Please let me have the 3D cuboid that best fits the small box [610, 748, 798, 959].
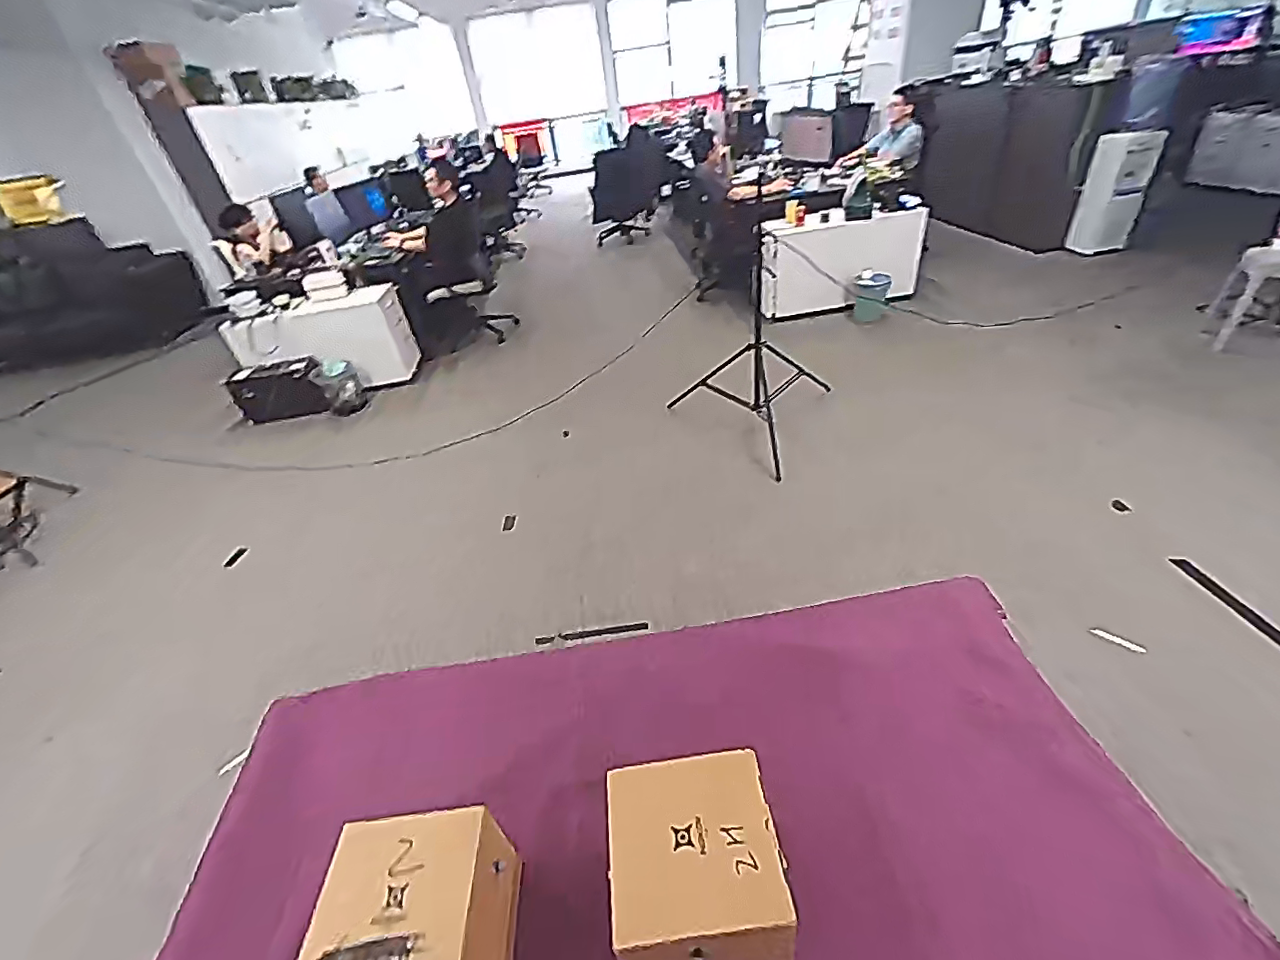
[{"bbox_3d":[0.068,0.434,0.609,0.179,0.176,0.168,-9,36,1],"label":"small box"}]
